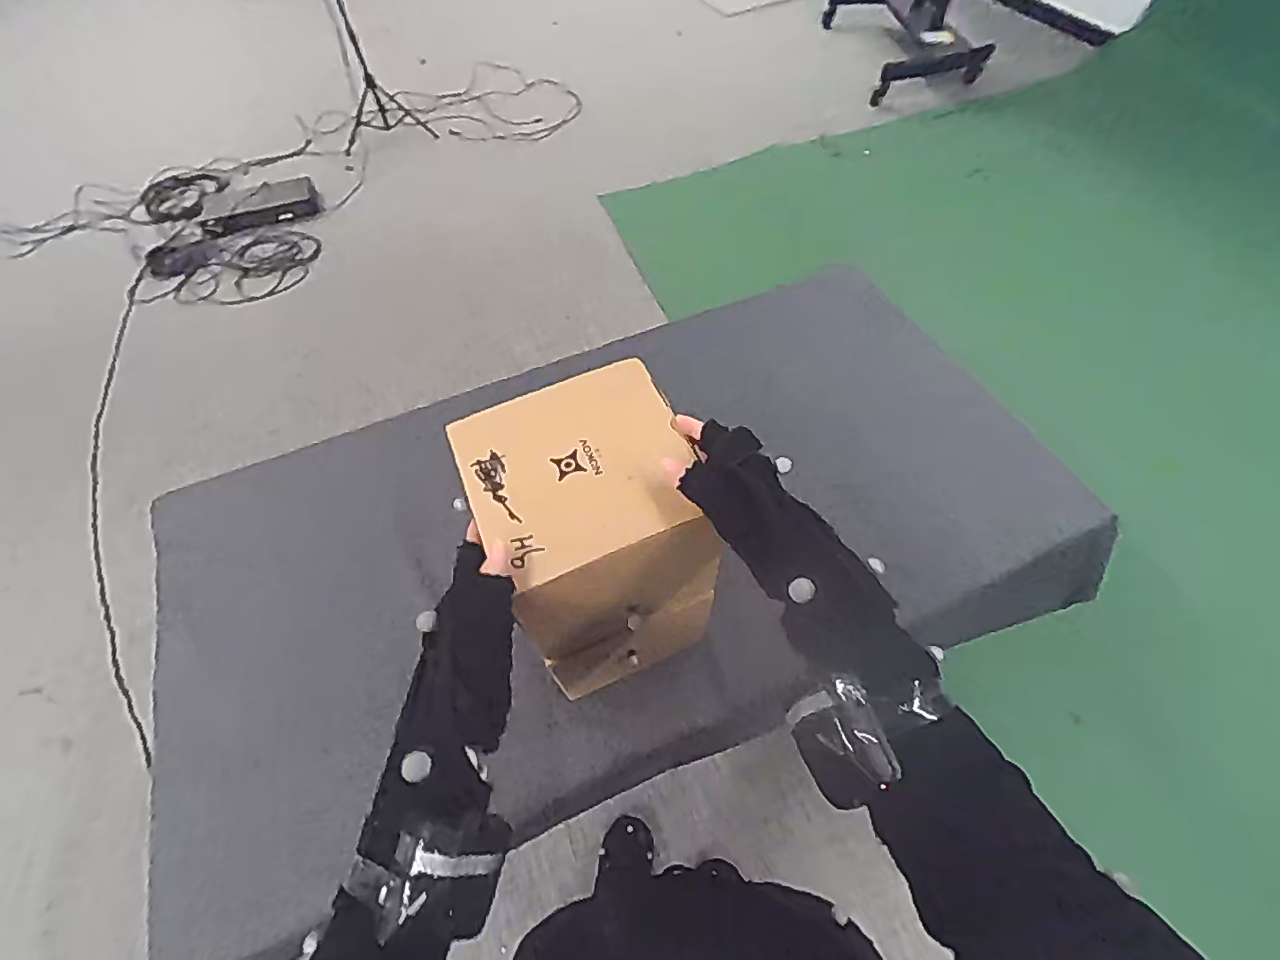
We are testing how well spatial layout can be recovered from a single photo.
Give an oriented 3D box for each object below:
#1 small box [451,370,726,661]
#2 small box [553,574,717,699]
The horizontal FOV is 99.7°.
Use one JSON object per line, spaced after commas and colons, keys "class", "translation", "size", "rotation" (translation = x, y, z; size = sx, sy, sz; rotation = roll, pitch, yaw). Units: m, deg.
{"class": "small box", "translation": [-0.044, 0.037, 0.486], "size": [0.179, 0.176, 0.168], "rotation": [-21, 58, -11]}
{"class": "small box", "translation": [-0.035, 0.127, 0.624], "size": [0.179, 0.176, 0.168], "rotation": [-24, 61, -14]}
